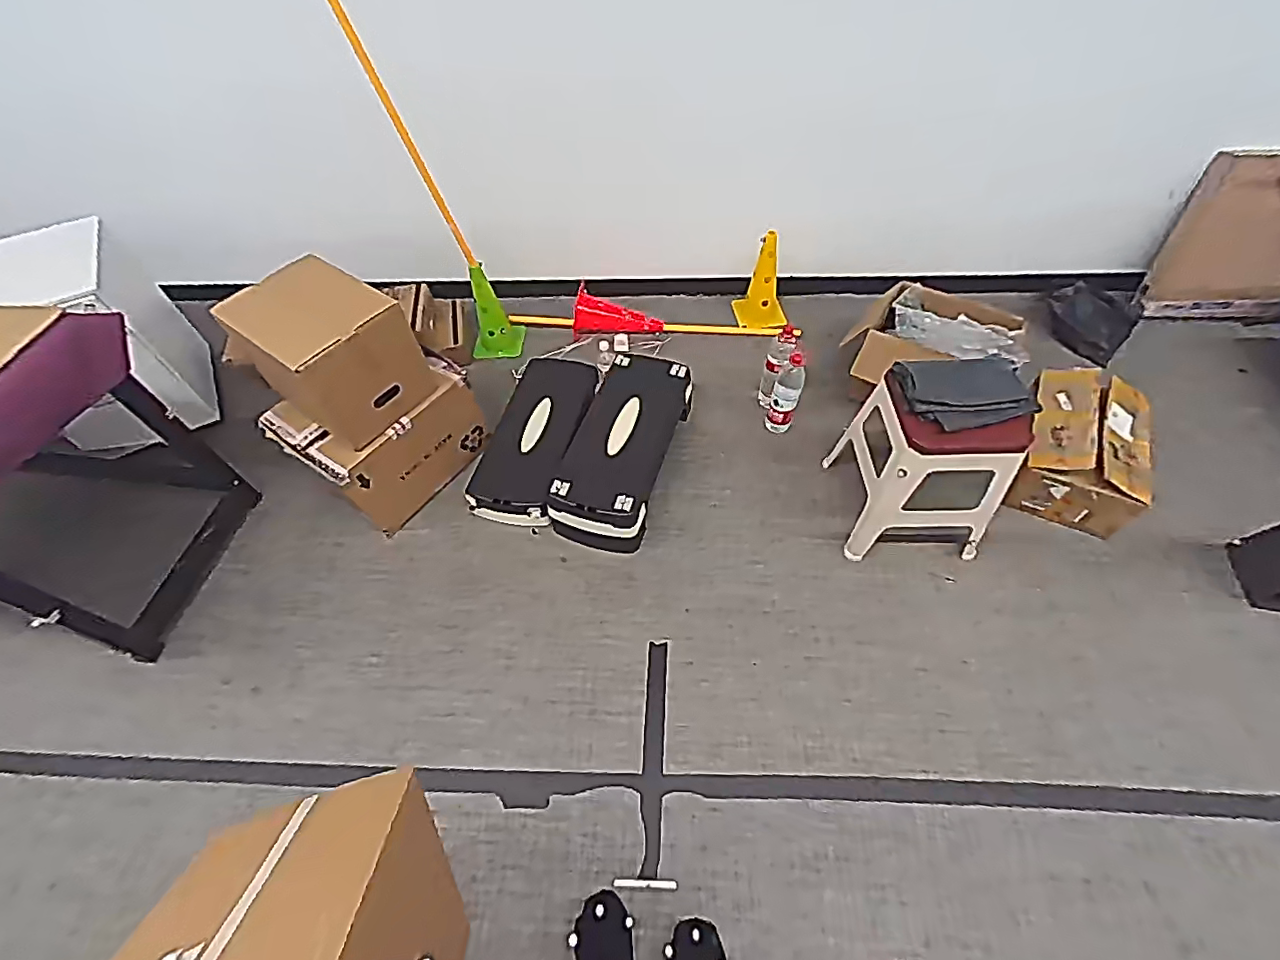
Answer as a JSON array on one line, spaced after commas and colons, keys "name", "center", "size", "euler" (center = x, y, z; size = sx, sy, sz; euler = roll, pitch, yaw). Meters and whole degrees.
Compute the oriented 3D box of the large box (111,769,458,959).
[{"name": "large box", "center": [-0.454, 0.677, 0.699], "size": [0.320, 0.408, 0.320], "euler": [-16, 99, -7]}]
